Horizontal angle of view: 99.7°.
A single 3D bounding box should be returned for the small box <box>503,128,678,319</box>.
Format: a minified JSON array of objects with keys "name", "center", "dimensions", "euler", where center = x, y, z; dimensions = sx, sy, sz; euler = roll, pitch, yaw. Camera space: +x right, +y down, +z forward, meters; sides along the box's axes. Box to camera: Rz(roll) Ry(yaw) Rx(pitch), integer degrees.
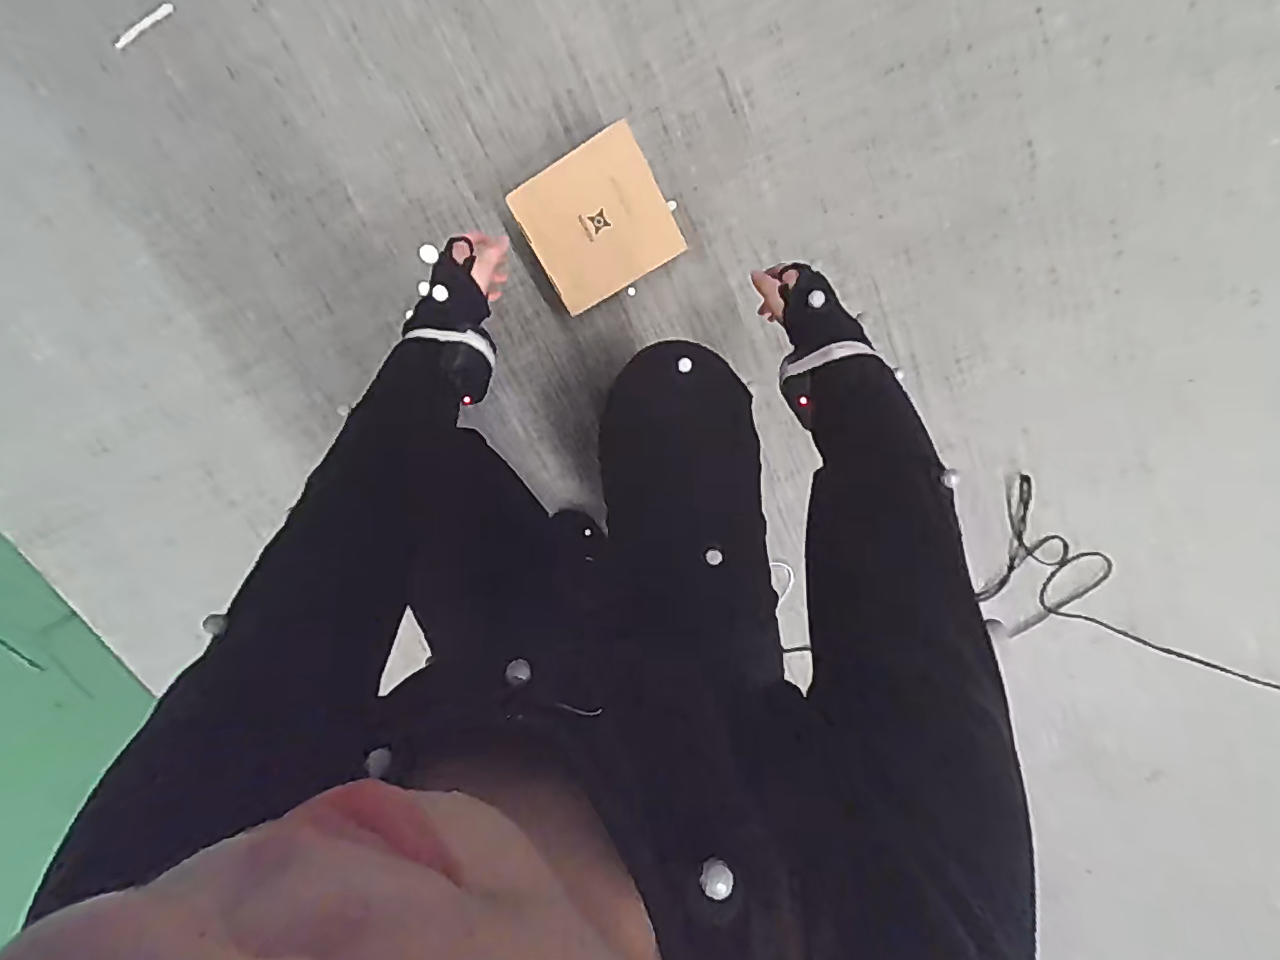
[{"name":"small box","center":[-0.057,-0.344,0.757],"dimensions":[0.179,0.176,0.168],"euler":[-26,108,12]}]
